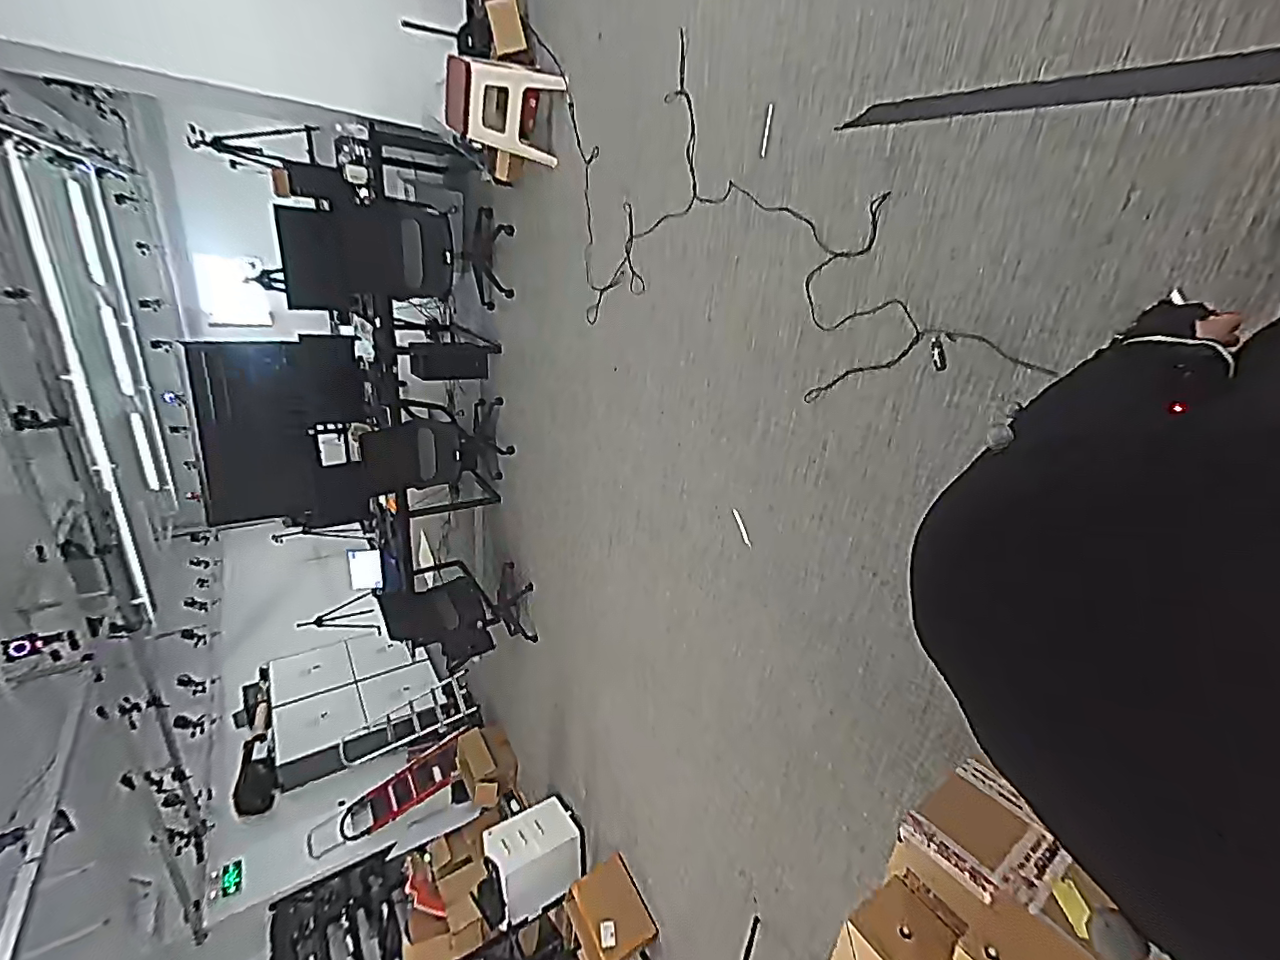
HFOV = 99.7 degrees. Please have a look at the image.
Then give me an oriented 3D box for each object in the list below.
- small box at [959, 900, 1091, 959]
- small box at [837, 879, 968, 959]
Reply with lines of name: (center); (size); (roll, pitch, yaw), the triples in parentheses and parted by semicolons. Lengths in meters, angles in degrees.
small box: (0.618, 0.828, 0.852); (0.179, 0.176, 0.168); (23, 114, 52)
small box: (0.501, 0.934, 1.036); (0.168, 0.176, 0.179); (33, 123, 51)
